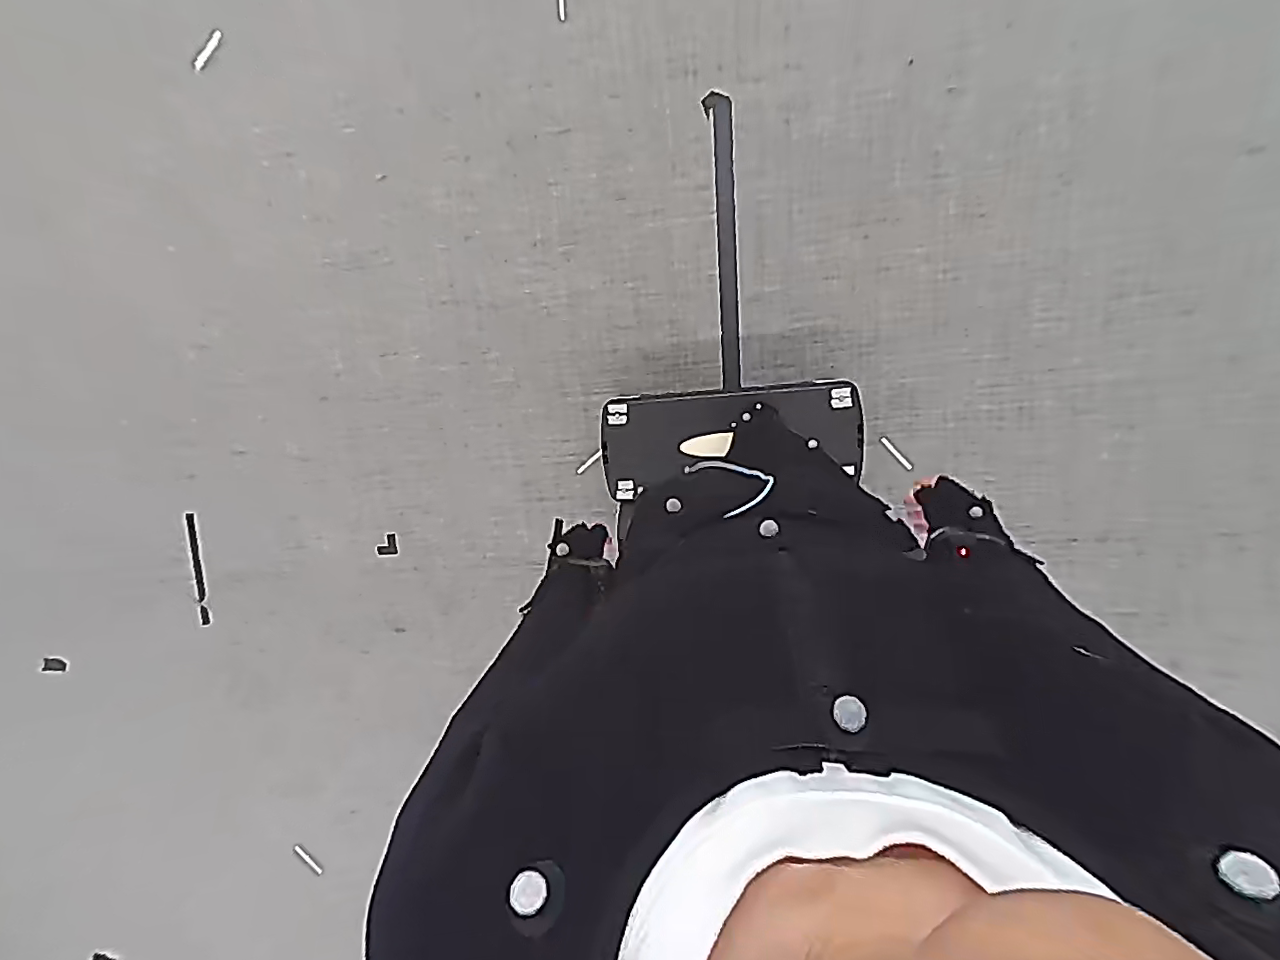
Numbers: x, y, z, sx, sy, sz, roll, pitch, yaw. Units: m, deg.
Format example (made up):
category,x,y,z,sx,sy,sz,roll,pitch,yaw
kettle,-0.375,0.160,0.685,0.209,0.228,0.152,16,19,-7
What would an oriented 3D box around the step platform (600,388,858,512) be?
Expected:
category,x,y,z,sx,sy,sz,roll,pitch,yaw
step platform,0.231,-0.080,1.481,0.684,0.204,0.286,-4,98,8
